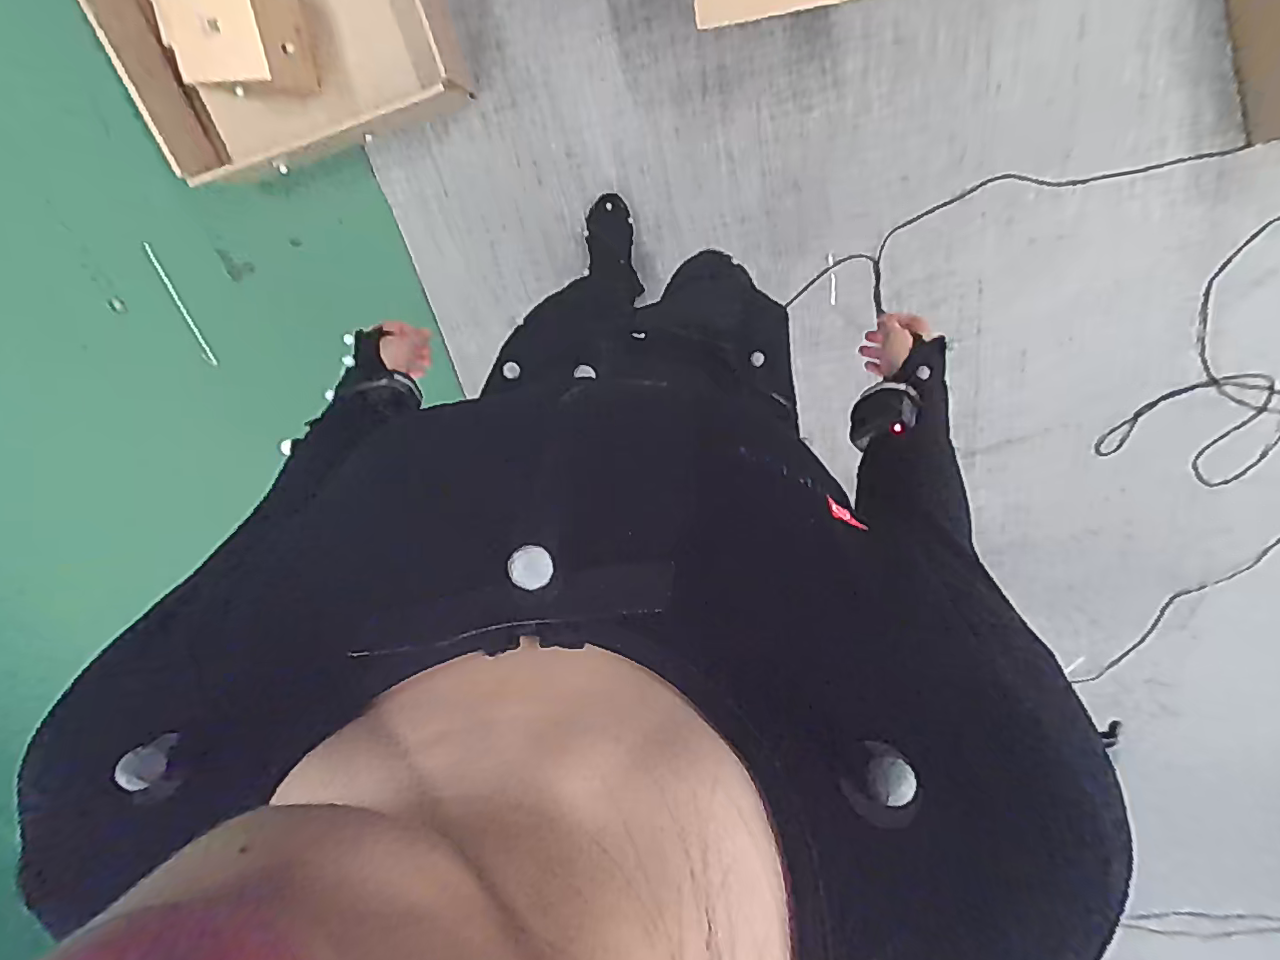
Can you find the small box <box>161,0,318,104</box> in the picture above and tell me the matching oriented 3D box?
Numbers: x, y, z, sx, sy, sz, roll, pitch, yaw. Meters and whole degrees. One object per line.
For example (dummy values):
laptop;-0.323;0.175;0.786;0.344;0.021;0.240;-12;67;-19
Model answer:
small box;-0.767;-0.852;1.059;0.179;0.176;0.168;-1;116;4
